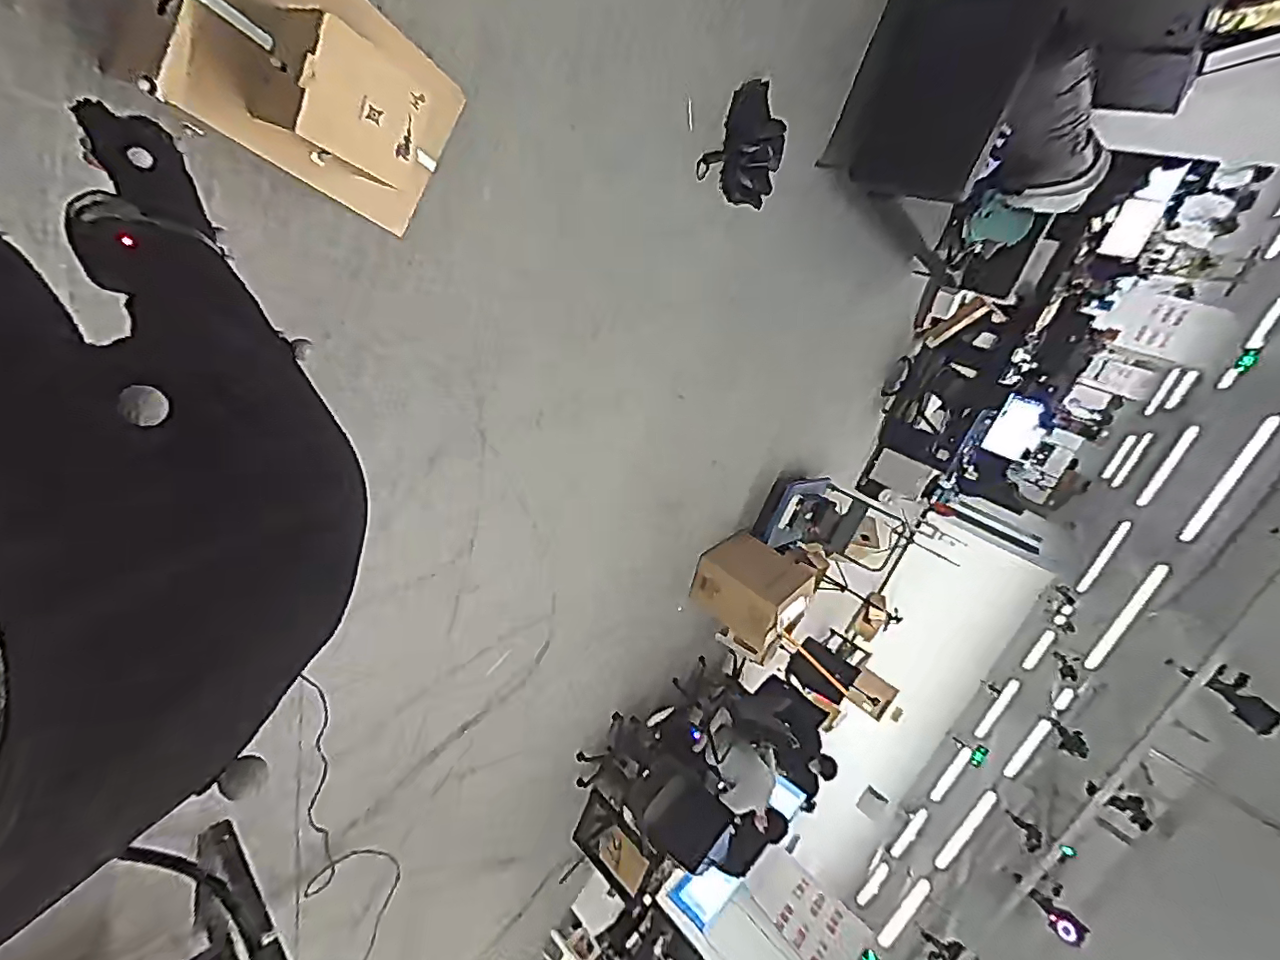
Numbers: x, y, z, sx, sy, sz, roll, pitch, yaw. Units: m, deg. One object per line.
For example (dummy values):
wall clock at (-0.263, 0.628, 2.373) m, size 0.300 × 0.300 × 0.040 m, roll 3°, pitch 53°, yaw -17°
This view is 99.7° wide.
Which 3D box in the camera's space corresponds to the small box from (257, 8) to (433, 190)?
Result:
small box at (-0.470, -0.594, 0.857) m, size 0.179 × 0.176 × 0.168 m, roll 7°, pitch 112°, yaw -55°
